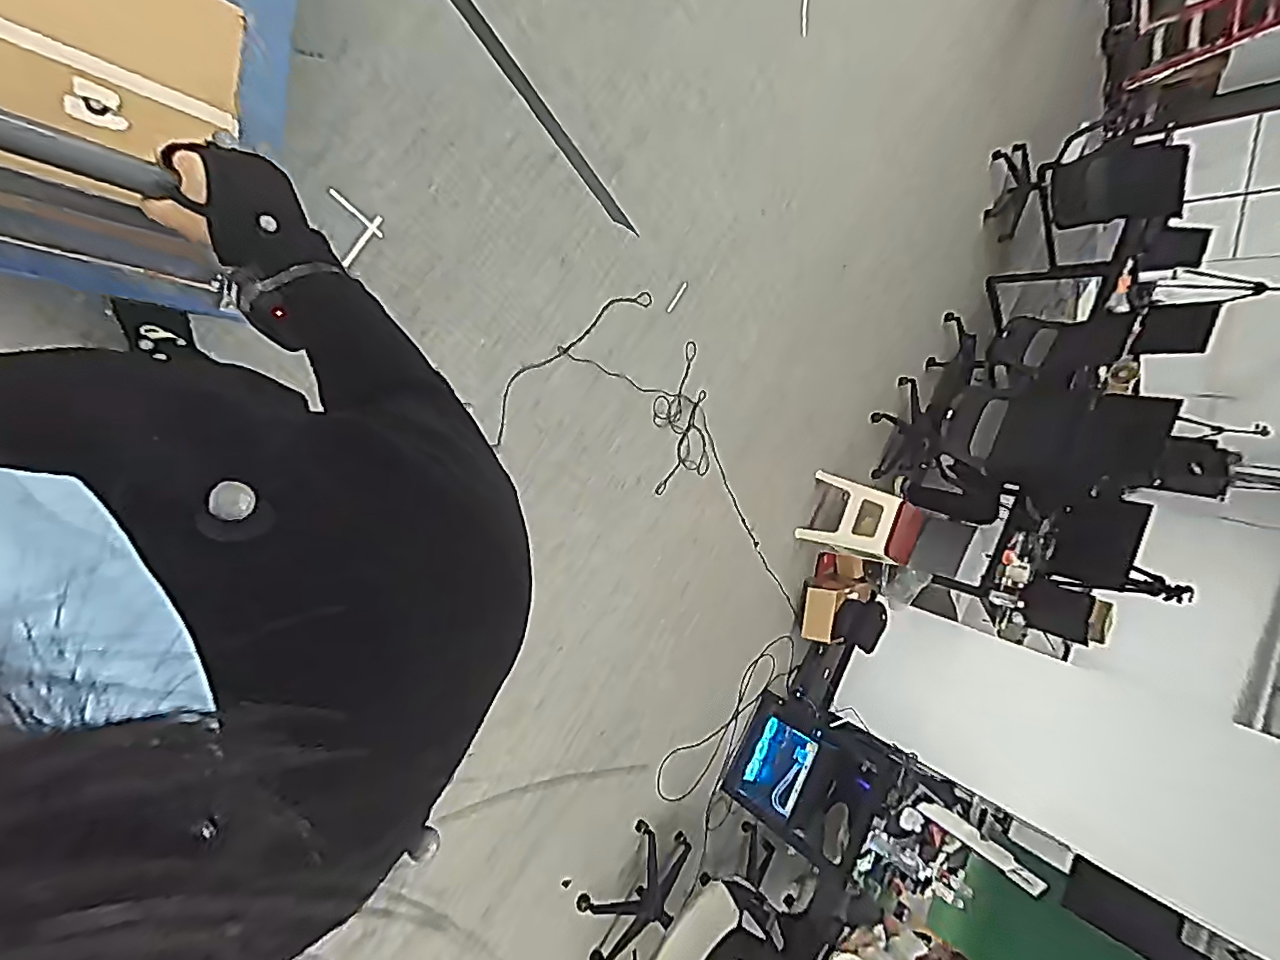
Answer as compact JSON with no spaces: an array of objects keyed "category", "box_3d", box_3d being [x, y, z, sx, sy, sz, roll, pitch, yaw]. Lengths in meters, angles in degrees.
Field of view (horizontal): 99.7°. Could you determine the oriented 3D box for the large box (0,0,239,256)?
[{"category":"large box","box_3d":[-0.830,-0.540,0.734,0.408,0.320,0.320,6,97,-45]}]
